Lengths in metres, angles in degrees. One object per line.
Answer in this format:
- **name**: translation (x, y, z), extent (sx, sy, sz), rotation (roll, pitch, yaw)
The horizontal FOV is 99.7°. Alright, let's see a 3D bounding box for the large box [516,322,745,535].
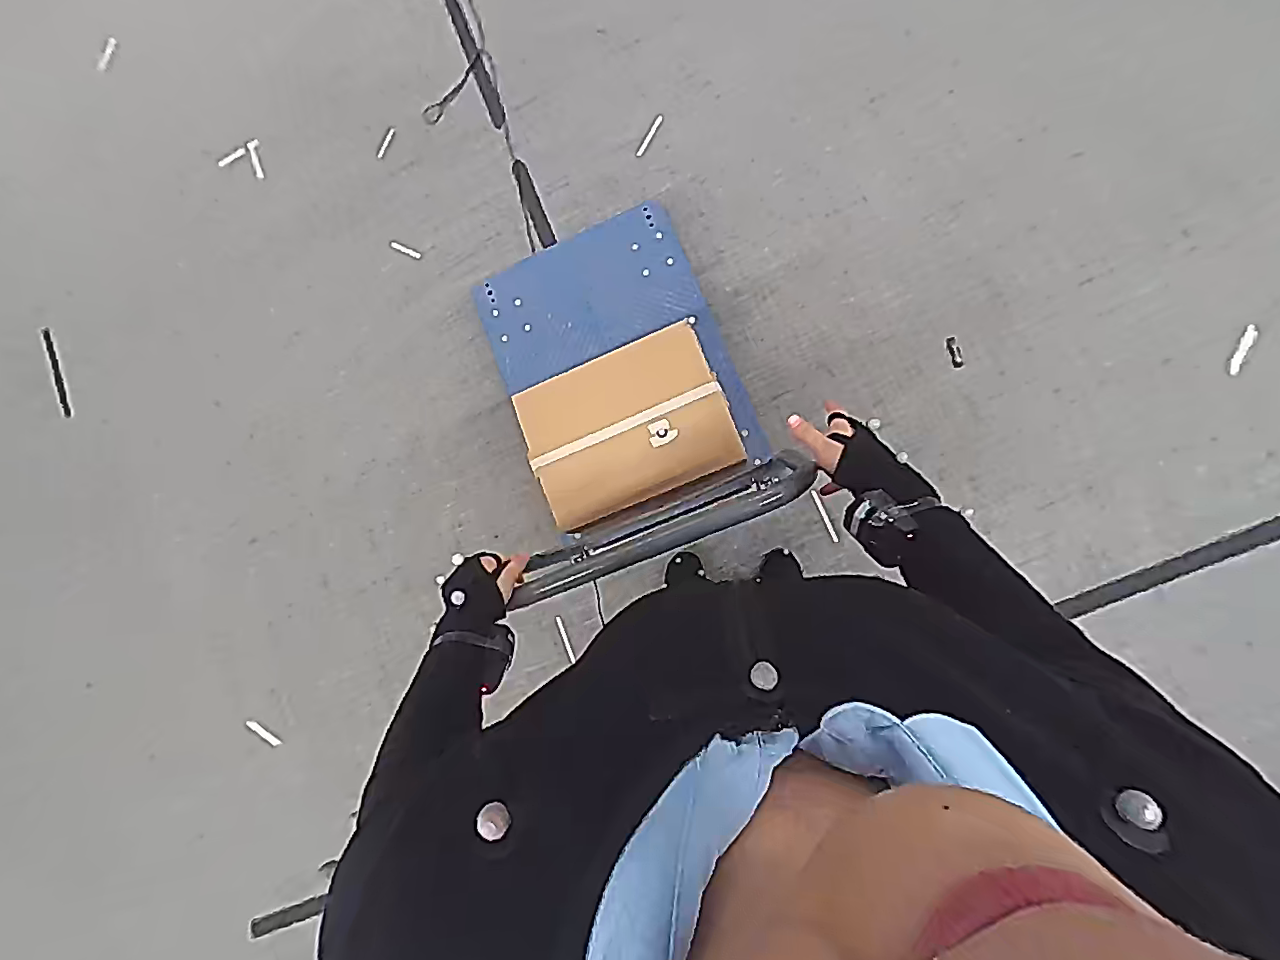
- **large box**: translation (-0.007, -0.090, 1.243), extent (0.408, 0.320, 0.320), rotation (-22, 81, 6)
